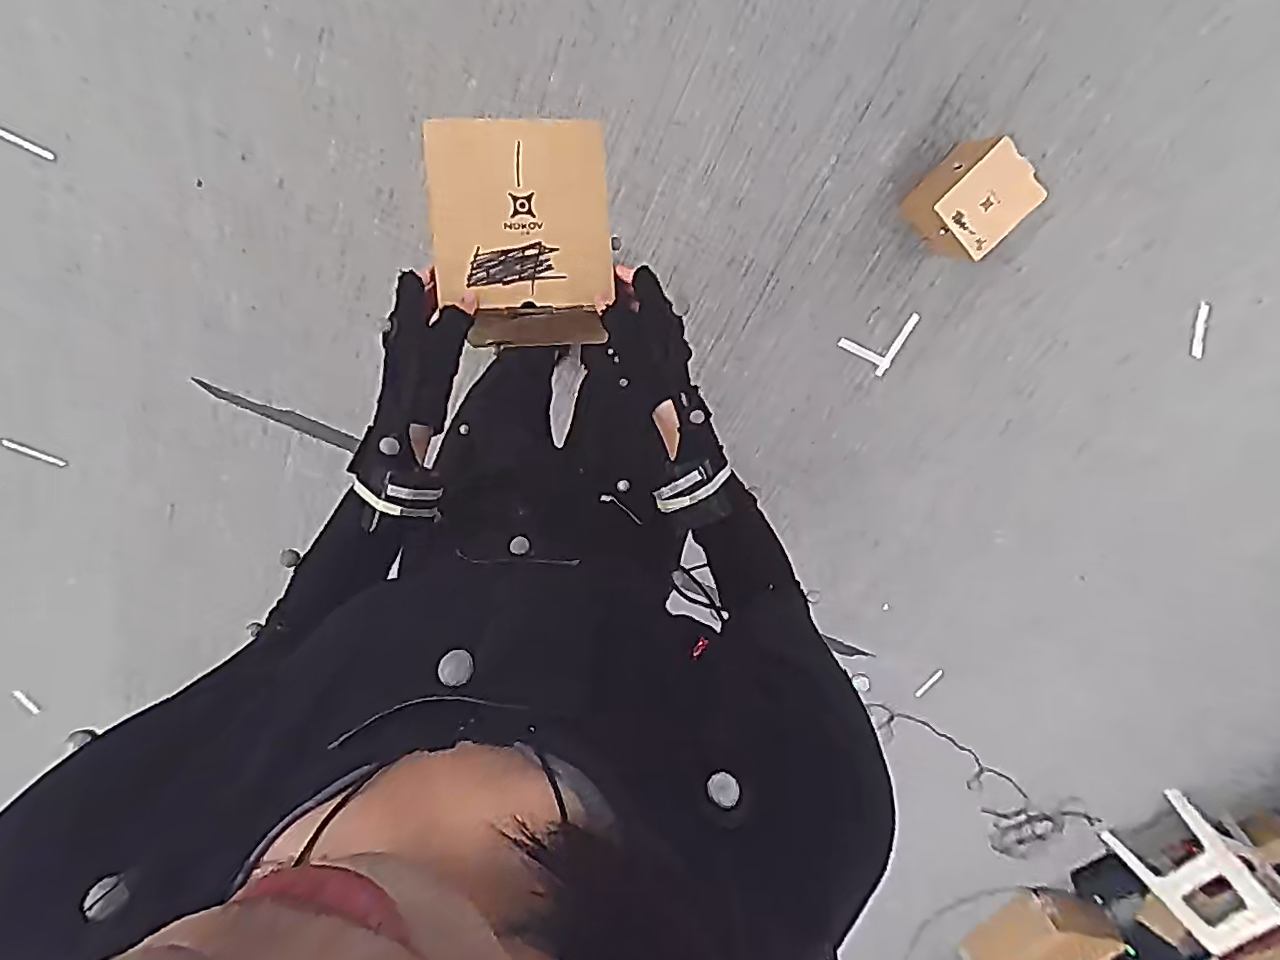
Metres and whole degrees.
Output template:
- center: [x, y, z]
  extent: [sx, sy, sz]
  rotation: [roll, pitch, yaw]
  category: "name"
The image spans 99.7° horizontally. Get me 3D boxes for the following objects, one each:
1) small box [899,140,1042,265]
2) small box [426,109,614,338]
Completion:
- center: [0.720, -0.608, 1.197]
  extent: [0.168, 0.176, 0.179]
  rotation: [39, 109, -18]
  category: "small box"
- center: [-0.117, -0.254, 0.577]
  extent: [0.168, 0.176, 0.179]
  rotation: [-4, 91, -7]
  category: "small box"
